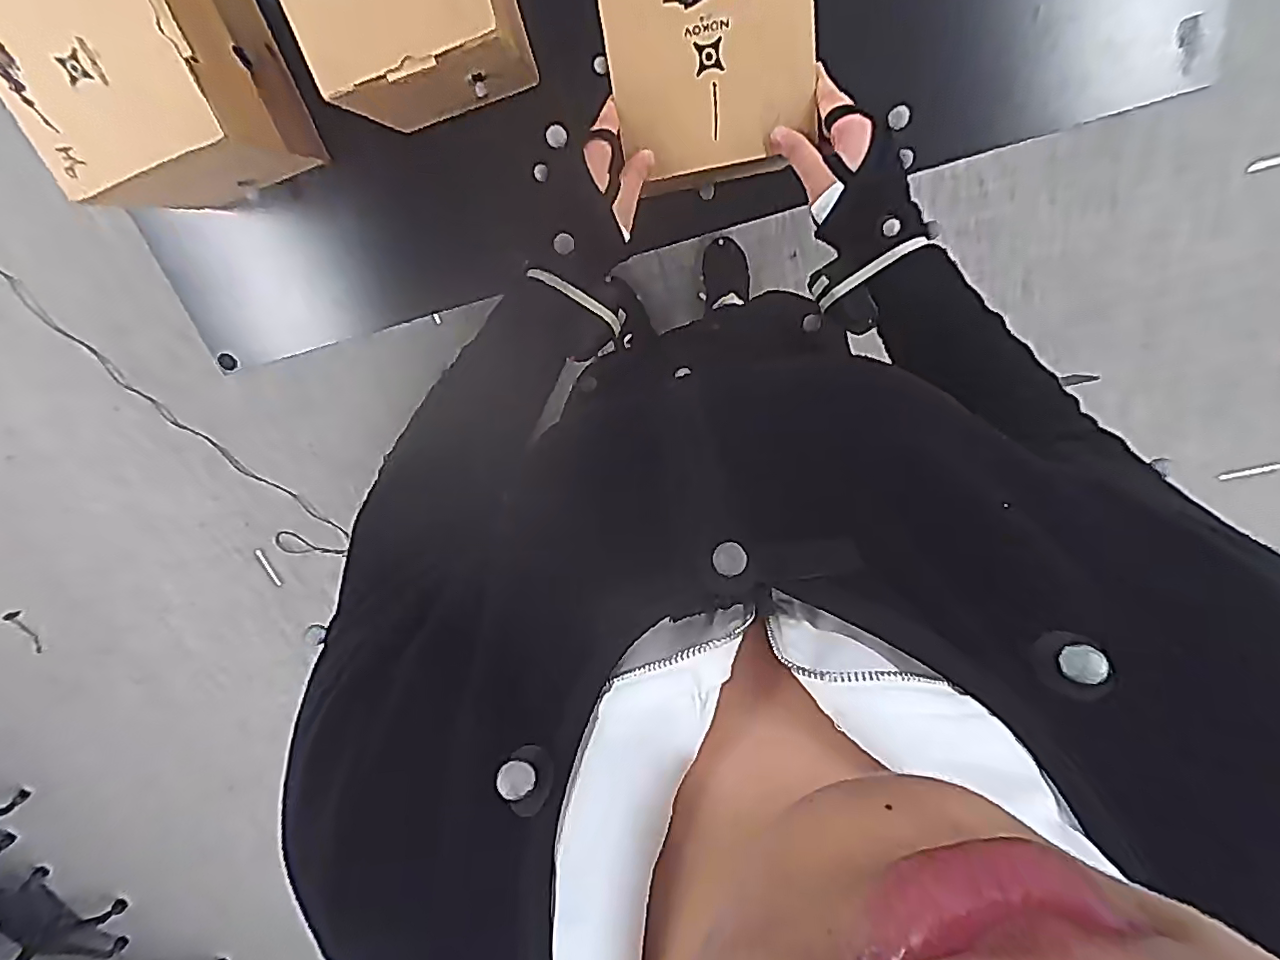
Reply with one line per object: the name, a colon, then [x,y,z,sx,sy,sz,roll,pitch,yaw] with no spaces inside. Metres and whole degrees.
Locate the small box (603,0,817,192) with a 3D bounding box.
small box: [0.058,-0.383,0.502,0.168,0.176,0.179,-8,114,6]

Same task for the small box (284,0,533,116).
small box: [-0.211,-0.455,0.487,0.168,0.176,0.179,-15,113,7]

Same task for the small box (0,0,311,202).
small box: [-0.461,-0.386,0.524,0.179,0.176,0.168,-16,113,7]
